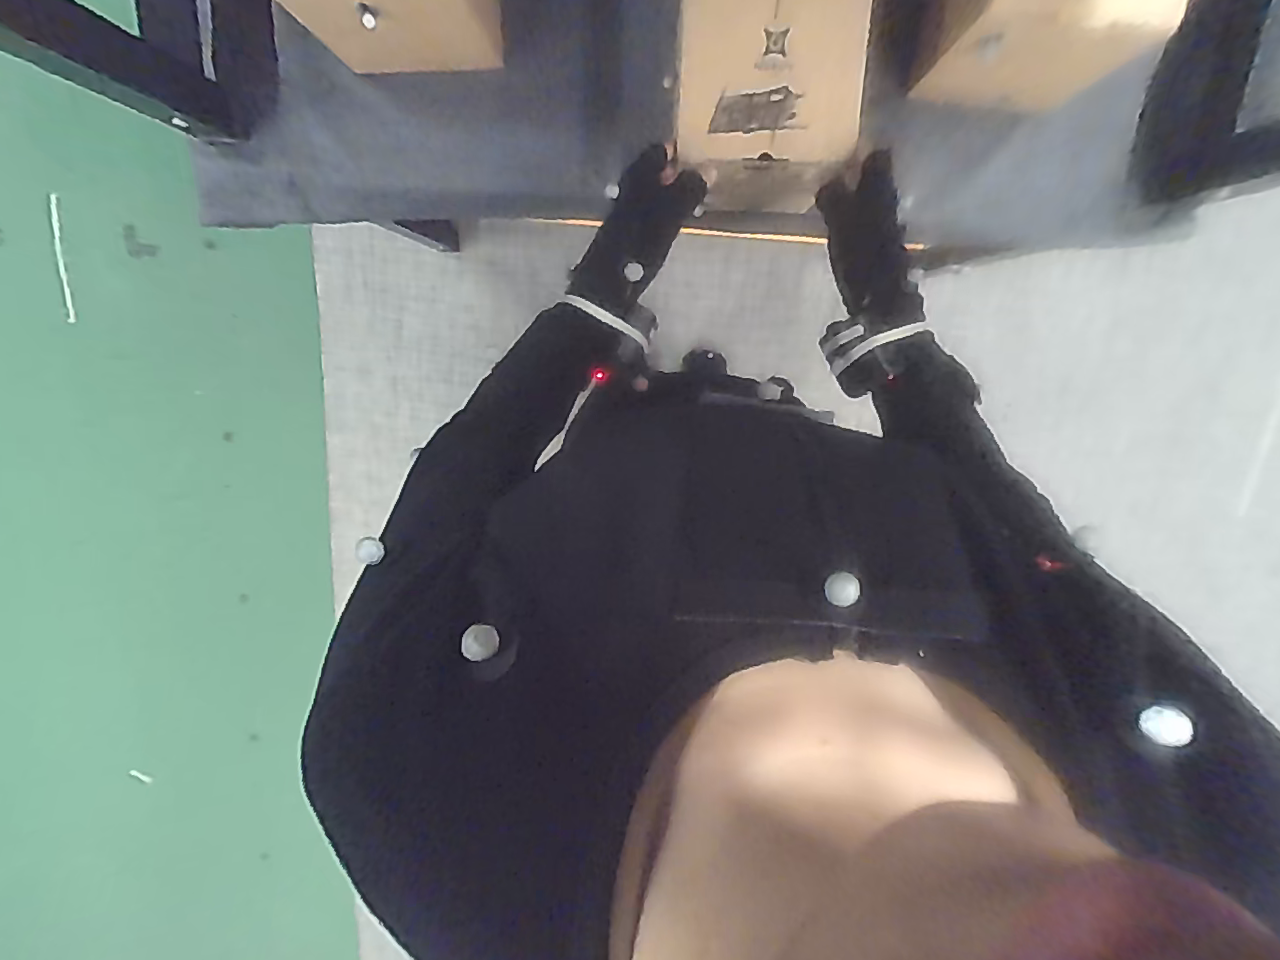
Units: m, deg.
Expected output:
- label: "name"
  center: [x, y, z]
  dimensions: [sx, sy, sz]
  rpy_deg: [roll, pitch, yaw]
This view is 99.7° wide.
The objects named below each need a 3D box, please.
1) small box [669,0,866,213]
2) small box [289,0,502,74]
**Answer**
- label: "small box"
  center: [0.117, -0.391, 0.562]
  dimensions: [0.168, 0.176, 0.179]
  rpy_deg: [2, 102, 1]
- label: "small box"
  center: [-0.249, -0.535, 0.537]
  dimensions: [0.179, 0.176, 0.168]
  rpy_deg: [0, 105, 1]
